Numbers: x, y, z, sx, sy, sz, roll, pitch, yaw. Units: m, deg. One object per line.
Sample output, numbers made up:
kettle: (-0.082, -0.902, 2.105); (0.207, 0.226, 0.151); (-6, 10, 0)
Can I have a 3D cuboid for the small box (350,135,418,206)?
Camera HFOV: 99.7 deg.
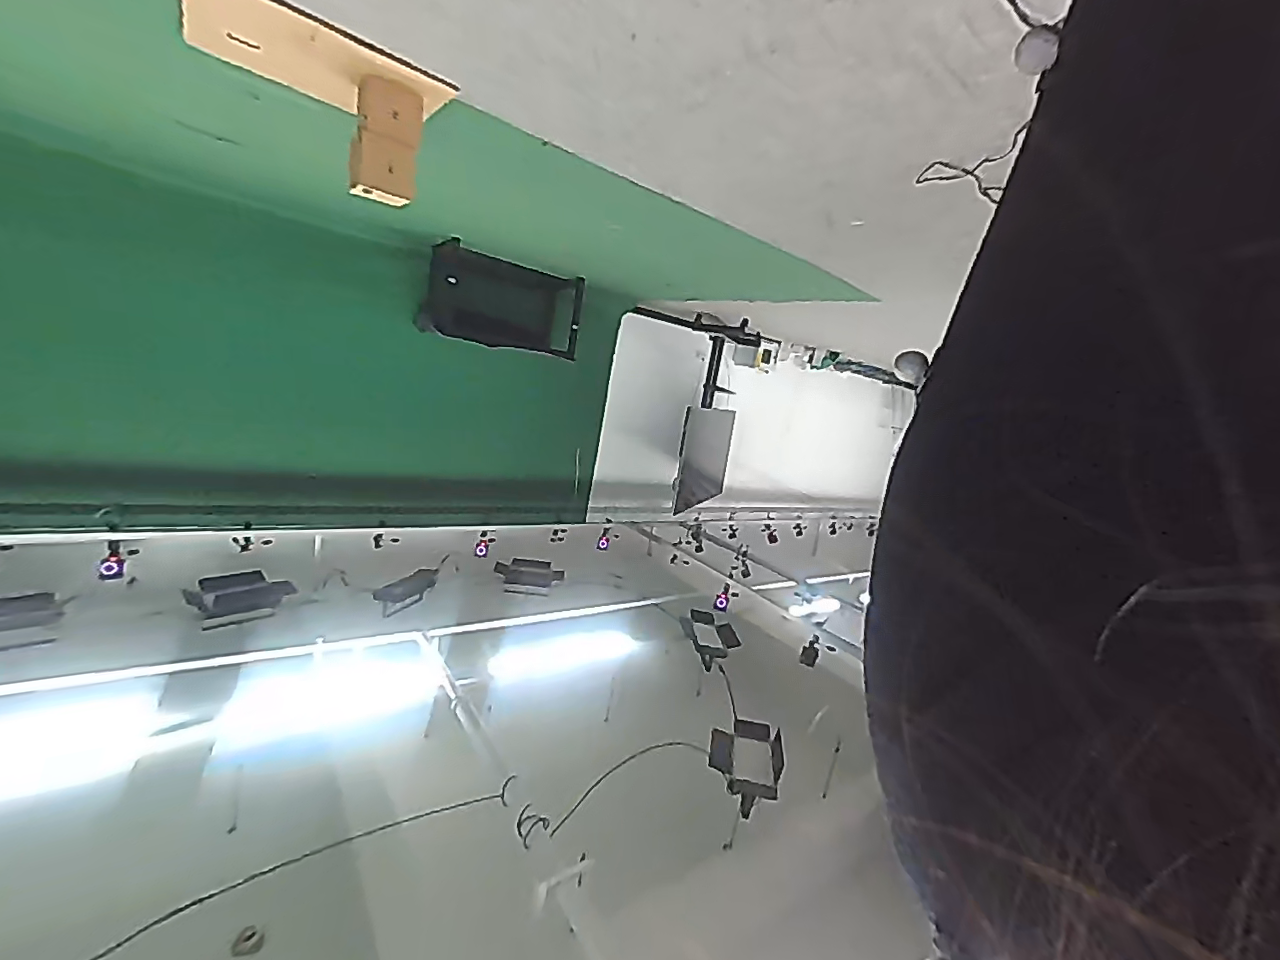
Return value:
small box: (-0.899, -1.087, 1.900); (0.179, 0.176, 0.168); (-2, -164, -42)
